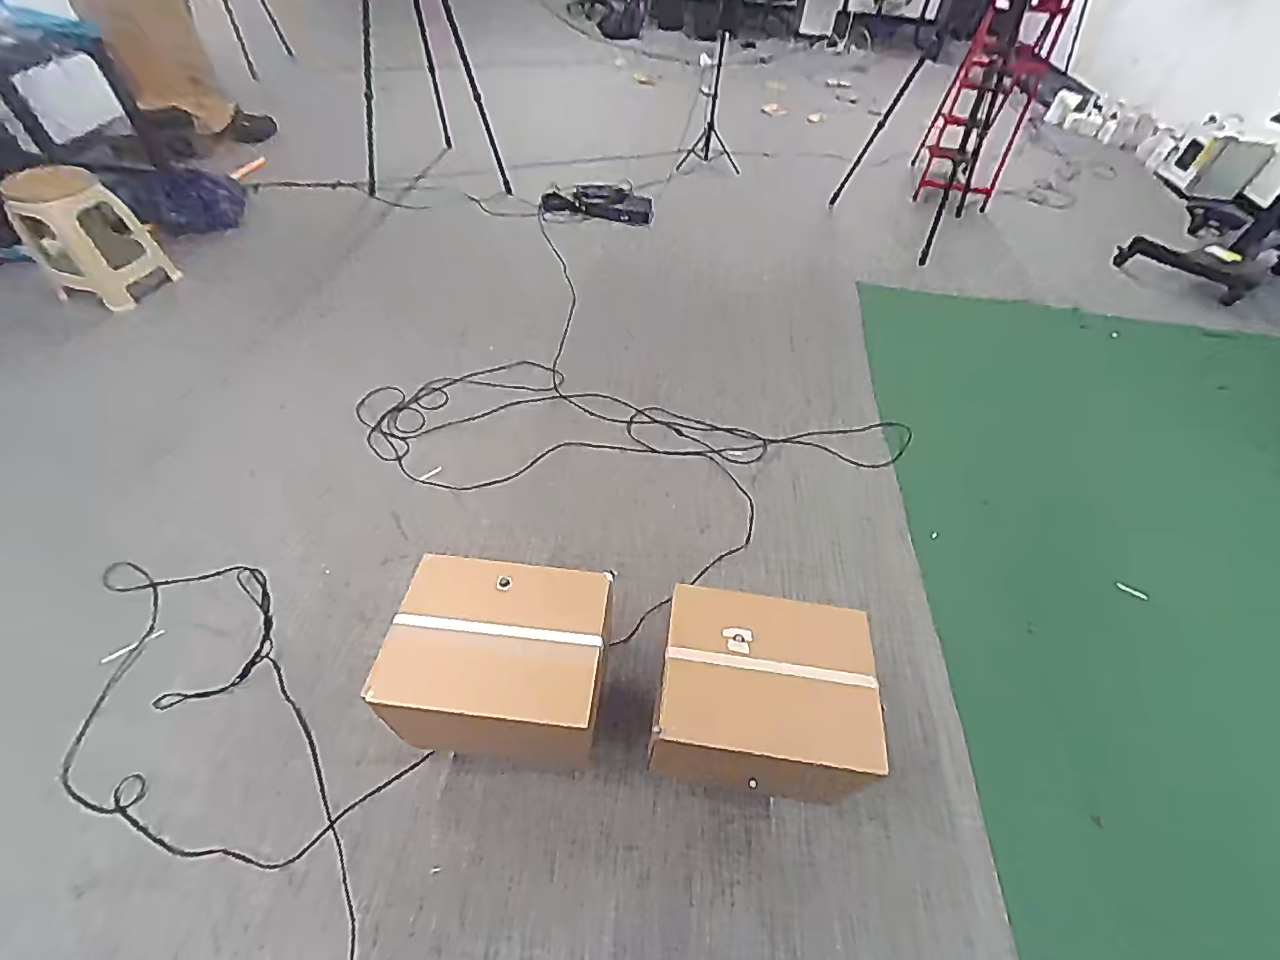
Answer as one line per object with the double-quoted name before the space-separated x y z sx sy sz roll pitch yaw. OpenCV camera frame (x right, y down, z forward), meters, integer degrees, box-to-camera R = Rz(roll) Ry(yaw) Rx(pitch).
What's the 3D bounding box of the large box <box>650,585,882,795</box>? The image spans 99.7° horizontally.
"large box" 0.246 0.459 1.167 0.408 0.320 0.320 8 50 3
